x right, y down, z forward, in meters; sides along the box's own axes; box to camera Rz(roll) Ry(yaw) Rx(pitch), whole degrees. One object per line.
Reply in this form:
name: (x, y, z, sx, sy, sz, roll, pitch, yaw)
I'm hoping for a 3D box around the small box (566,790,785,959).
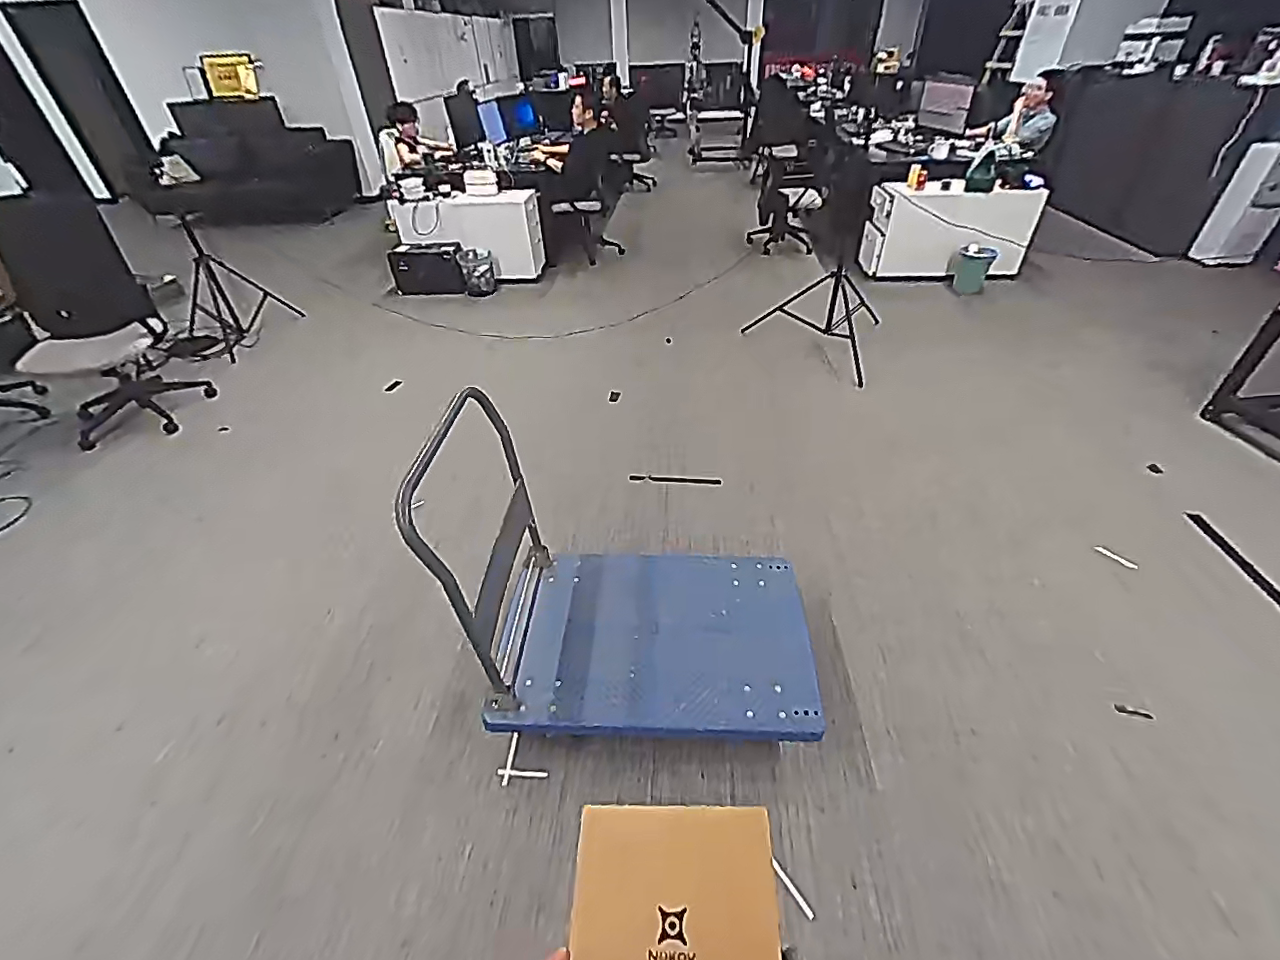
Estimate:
small box: (0.038, 0.394, 0.472, 0.168, 0.176, 0.179, -5, 44, 9)
